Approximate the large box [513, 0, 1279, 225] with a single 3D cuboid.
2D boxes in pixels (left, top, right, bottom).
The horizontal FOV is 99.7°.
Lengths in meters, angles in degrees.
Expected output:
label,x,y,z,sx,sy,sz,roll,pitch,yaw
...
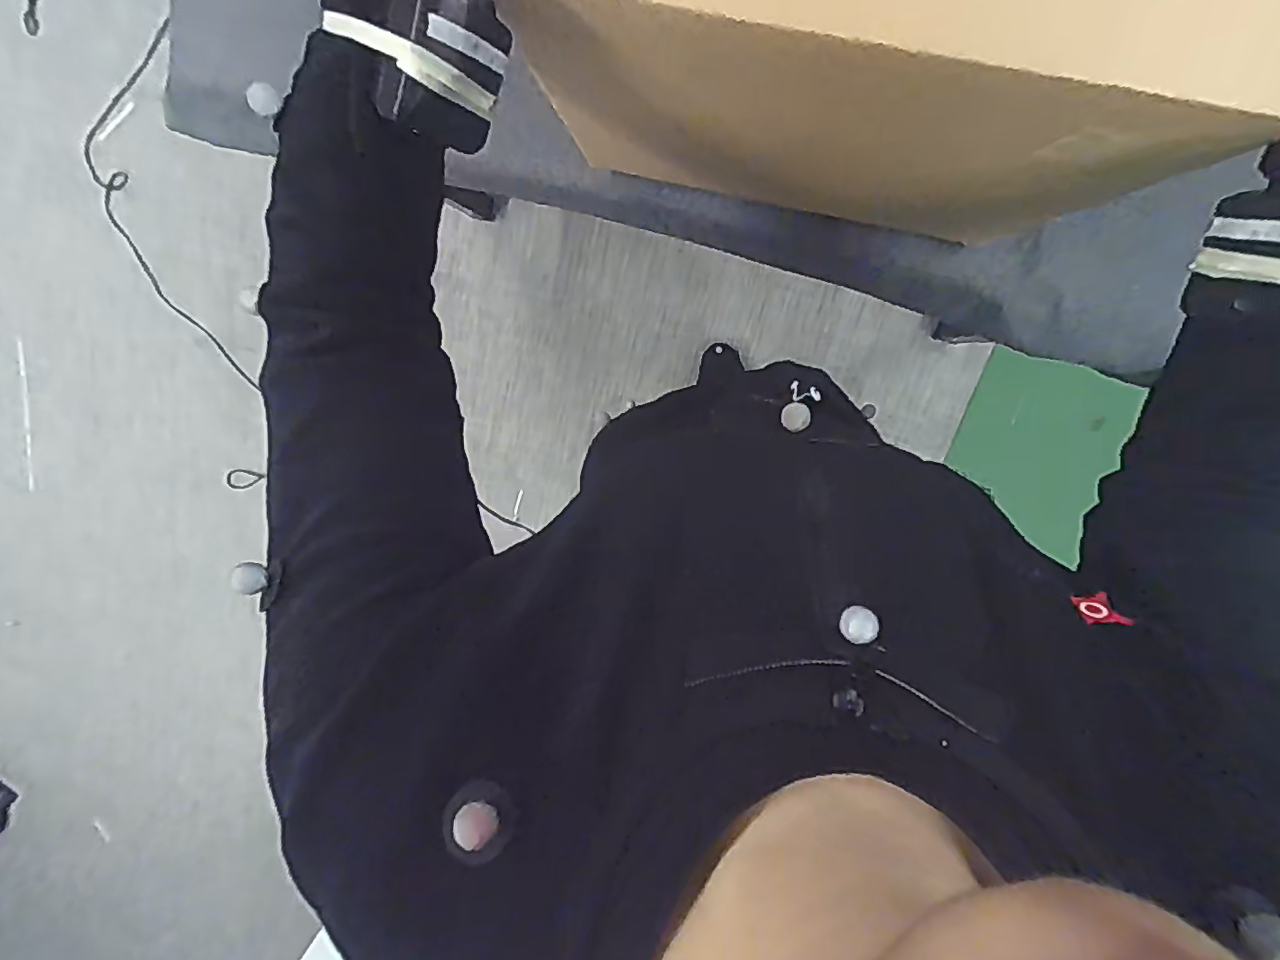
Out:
label,x,y,z,sx,sy,sz,roll,pitch,yaw
large box,0.155,-0.396,0.361,0.408,0.320,0.320,12,106,2
